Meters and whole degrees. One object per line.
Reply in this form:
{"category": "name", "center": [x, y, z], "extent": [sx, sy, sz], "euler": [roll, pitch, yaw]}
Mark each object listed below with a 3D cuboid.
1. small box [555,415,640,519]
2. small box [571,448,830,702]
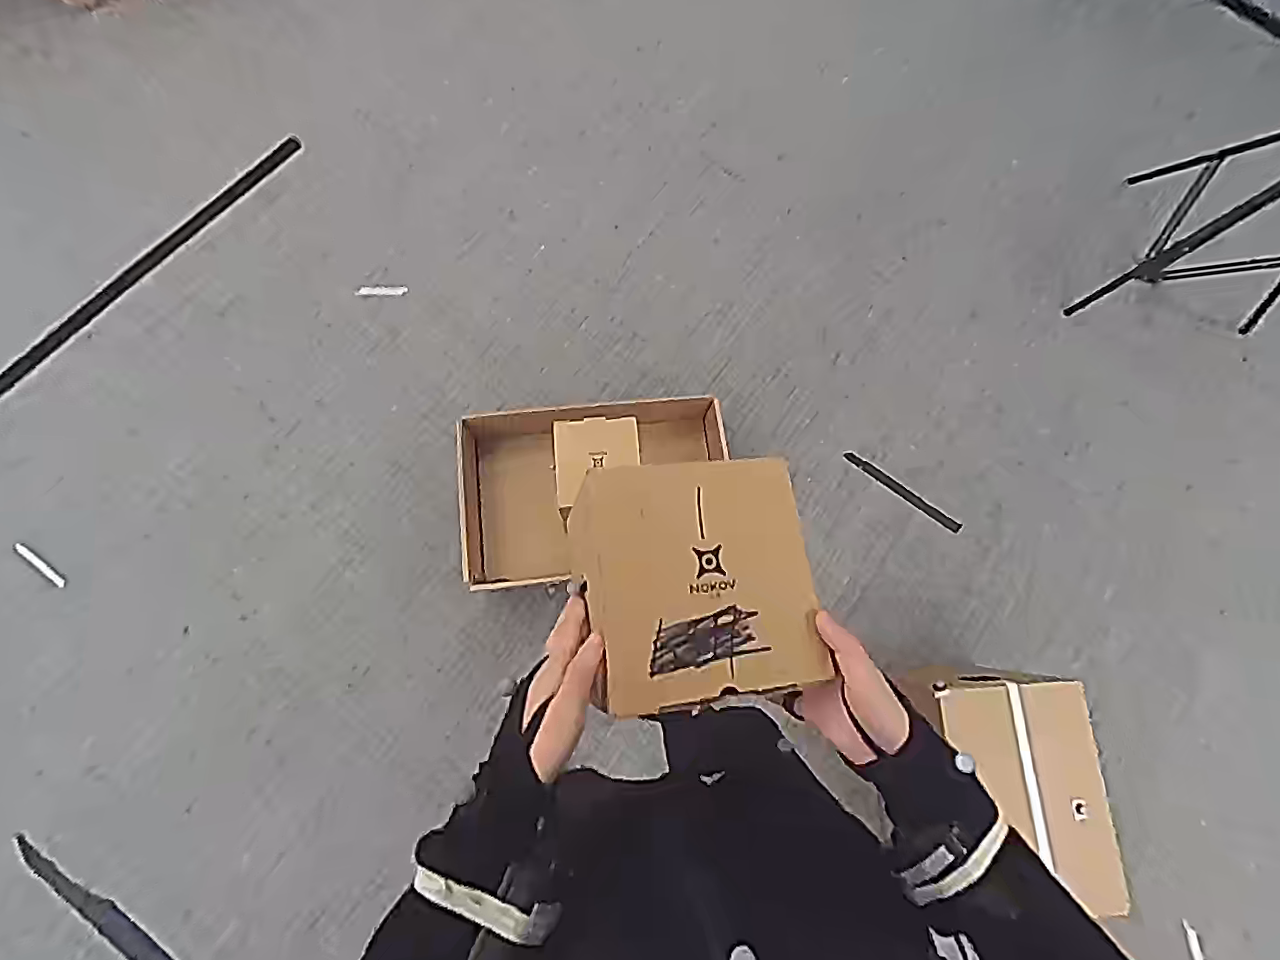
{"category": "small box", "center": [-0.086, -0.021, 1.121], "extent": [0.168, 0.176, 0.179], "euler": [-4, 77, -5]}
{"category": "small box", "center": [0.034, 0.084, 0.473], "extent": [0.168, 0.176, 0.179], "euler": [-3, 72, -14]}
